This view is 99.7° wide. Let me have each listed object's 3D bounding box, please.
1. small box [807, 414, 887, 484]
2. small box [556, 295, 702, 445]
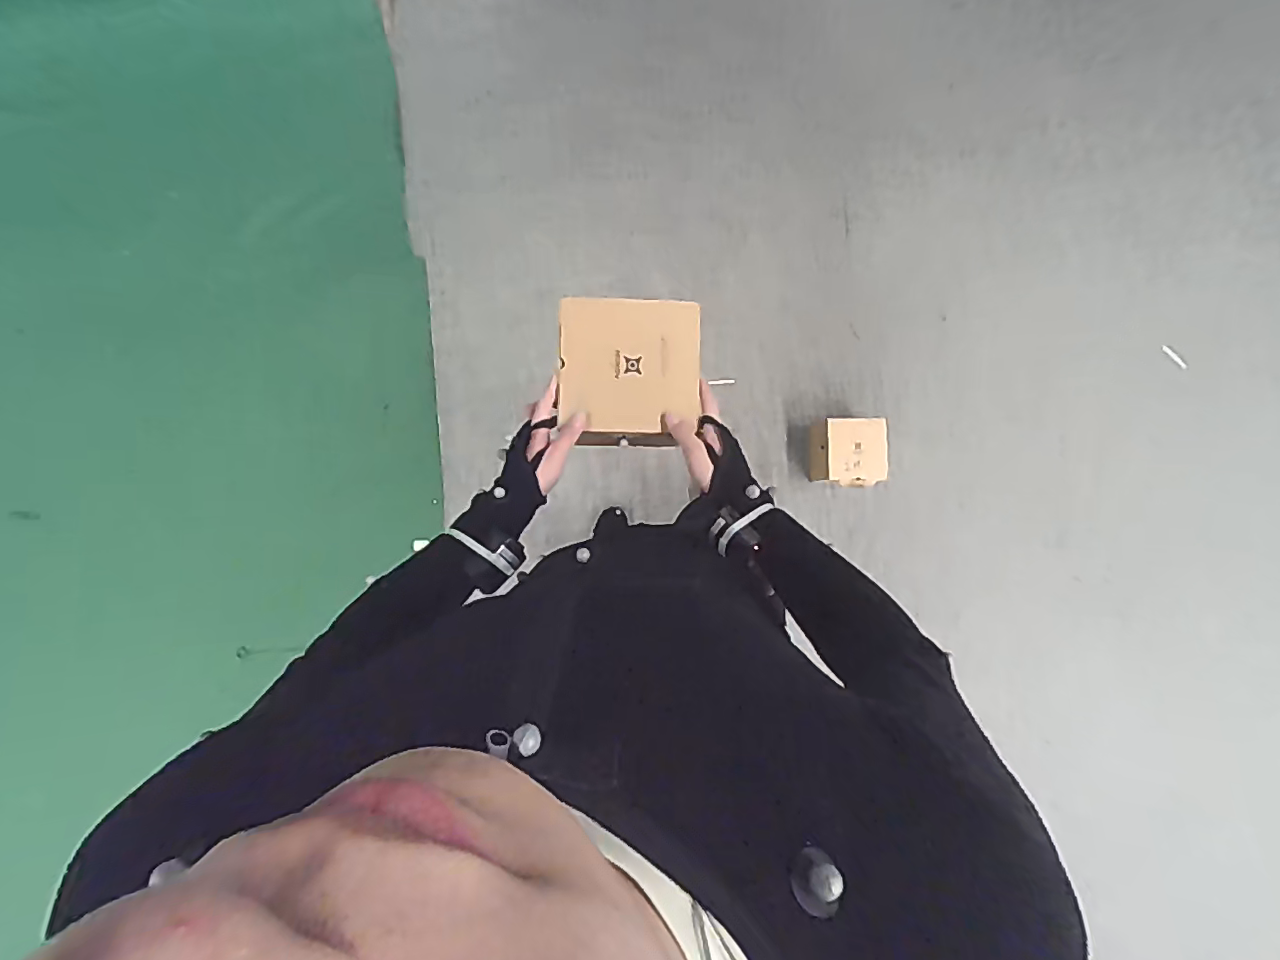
[{"bbox_3d":[0.597,-0.084,1.574,0.168,0.176,0.179,7,89,3],"label":"small box"},{"bbox_3d":[-0.017,-0.138,0.737,0.179,0.176,0.168,1,88,-4],"label":"small box"}]
